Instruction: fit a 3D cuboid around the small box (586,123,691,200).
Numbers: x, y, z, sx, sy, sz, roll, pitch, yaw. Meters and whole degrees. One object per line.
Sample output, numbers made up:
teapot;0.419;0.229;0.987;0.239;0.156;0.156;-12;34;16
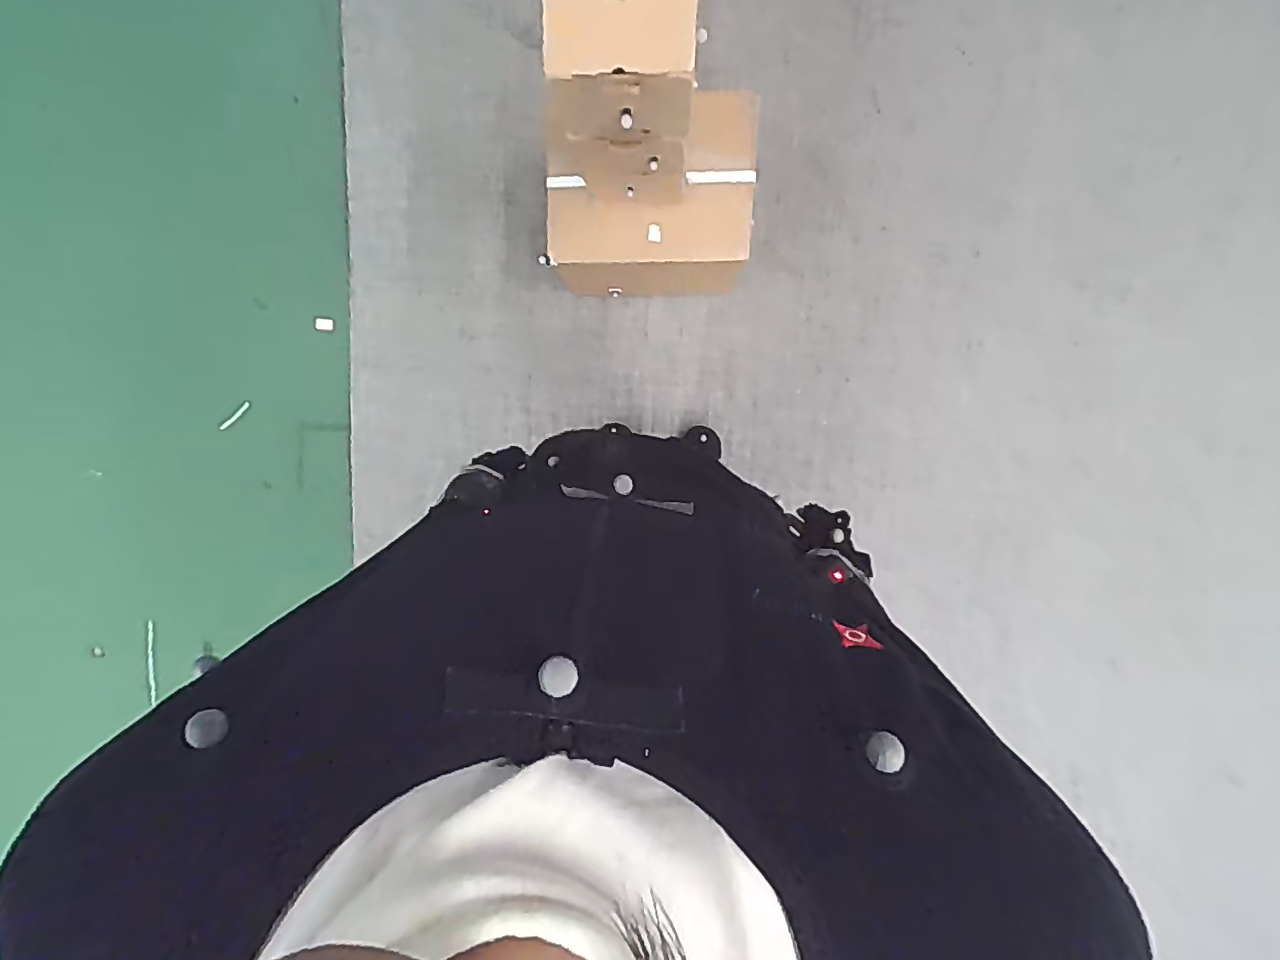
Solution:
small box;0.003;-0.611;0.965;0.179;0.176;0.168;2;104;5

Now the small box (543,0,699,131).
small box;-0.015;-0.541;0.648;0.168;0.176;0.179;3;104;5

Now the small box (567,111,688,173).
small box;-0.011;-0.576;0.808;0.168;0.176;0.179;2;102;4
